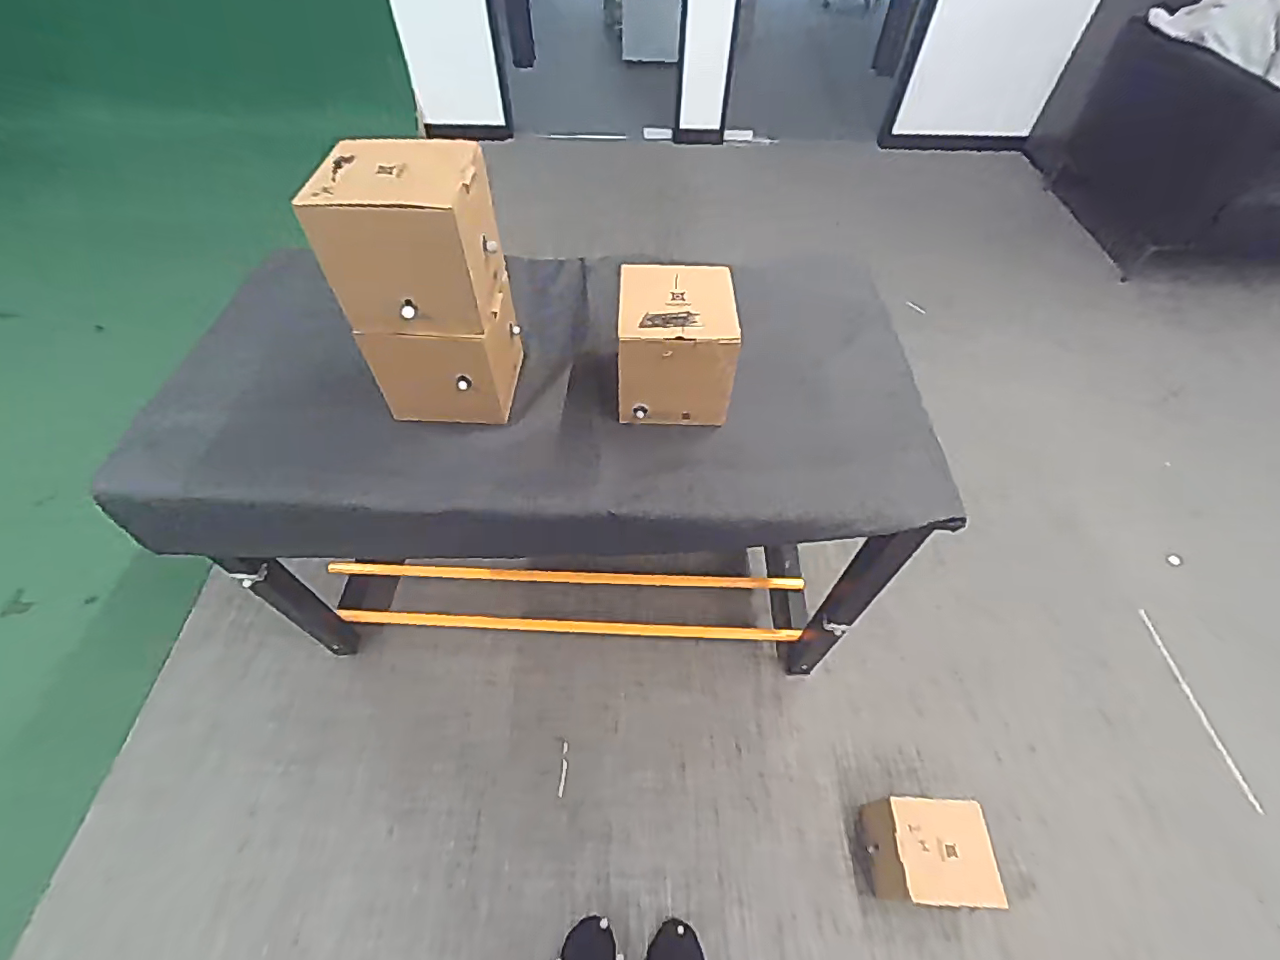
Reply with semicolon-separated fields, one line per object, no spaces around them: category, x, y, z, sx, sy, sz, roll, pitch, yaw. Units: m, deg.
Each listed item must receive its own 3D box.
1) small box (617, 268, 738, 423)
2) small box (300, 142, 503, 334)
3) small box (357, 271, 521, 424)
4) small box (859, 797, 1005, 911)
small box;0.051;-0.203;0.833;0.168;0.176;0.179;1;52;-1
small box;-0.283;-0.305;0.696;0.179;0.176;0.168;1;52;-1
small box;-0.286;-0.200;0.822;0.179;0.176;0.168;2;52;0
small box;0.556;0.729;1.056;0.179;0.176;0.168;2;52;1
